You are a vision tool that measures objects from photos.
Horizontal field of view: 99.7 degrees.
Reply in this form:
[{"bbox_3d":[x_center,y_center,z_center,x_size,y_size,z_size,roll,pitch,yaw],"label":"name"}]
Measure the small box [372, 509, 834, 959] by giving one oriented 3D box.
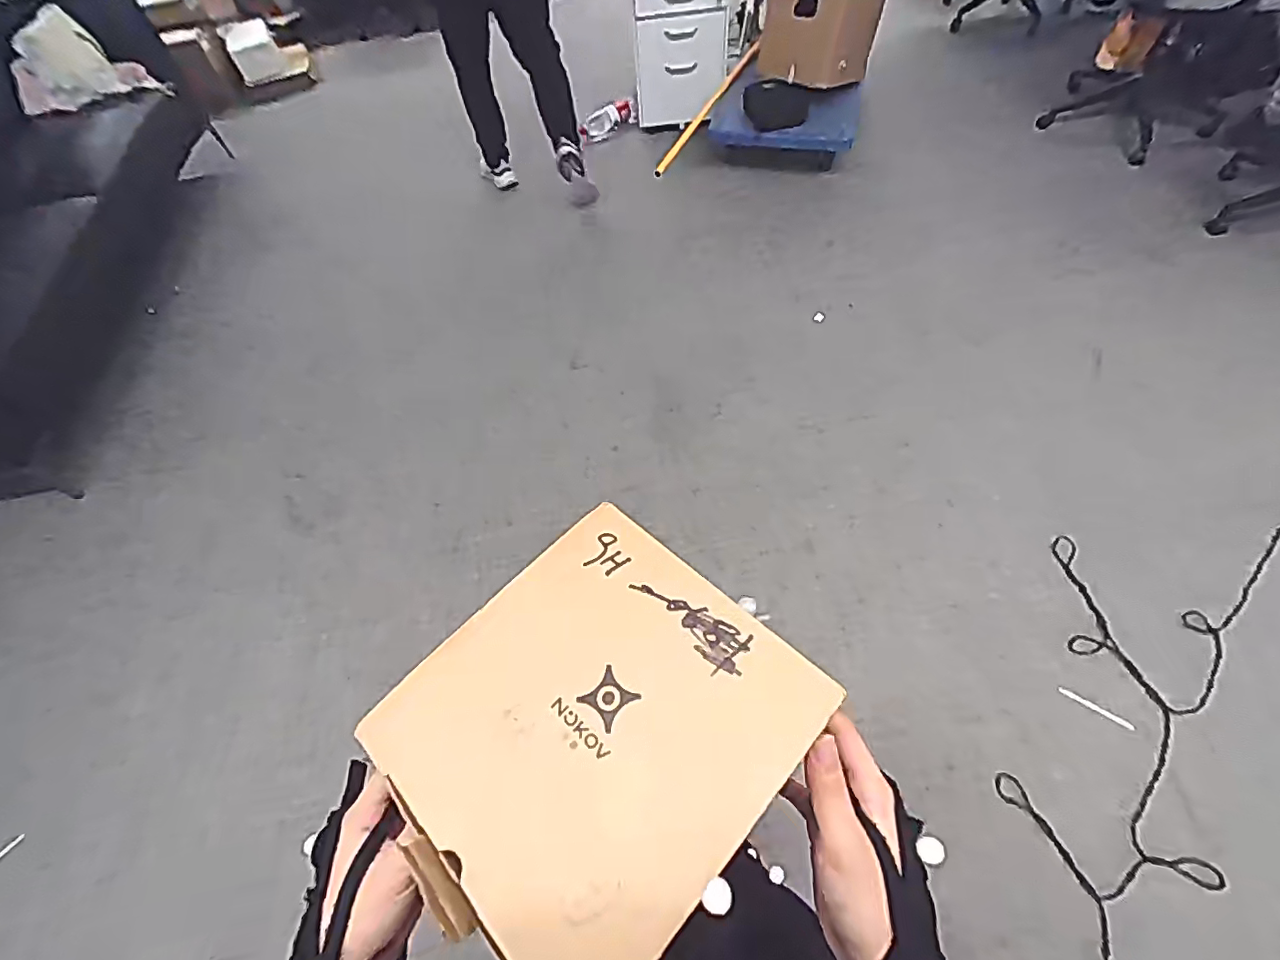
[{"bbox_3d":[-0.012,0.159,0.329,0.168,0.176,0.179,36,67,27],"label":"small box"}]
